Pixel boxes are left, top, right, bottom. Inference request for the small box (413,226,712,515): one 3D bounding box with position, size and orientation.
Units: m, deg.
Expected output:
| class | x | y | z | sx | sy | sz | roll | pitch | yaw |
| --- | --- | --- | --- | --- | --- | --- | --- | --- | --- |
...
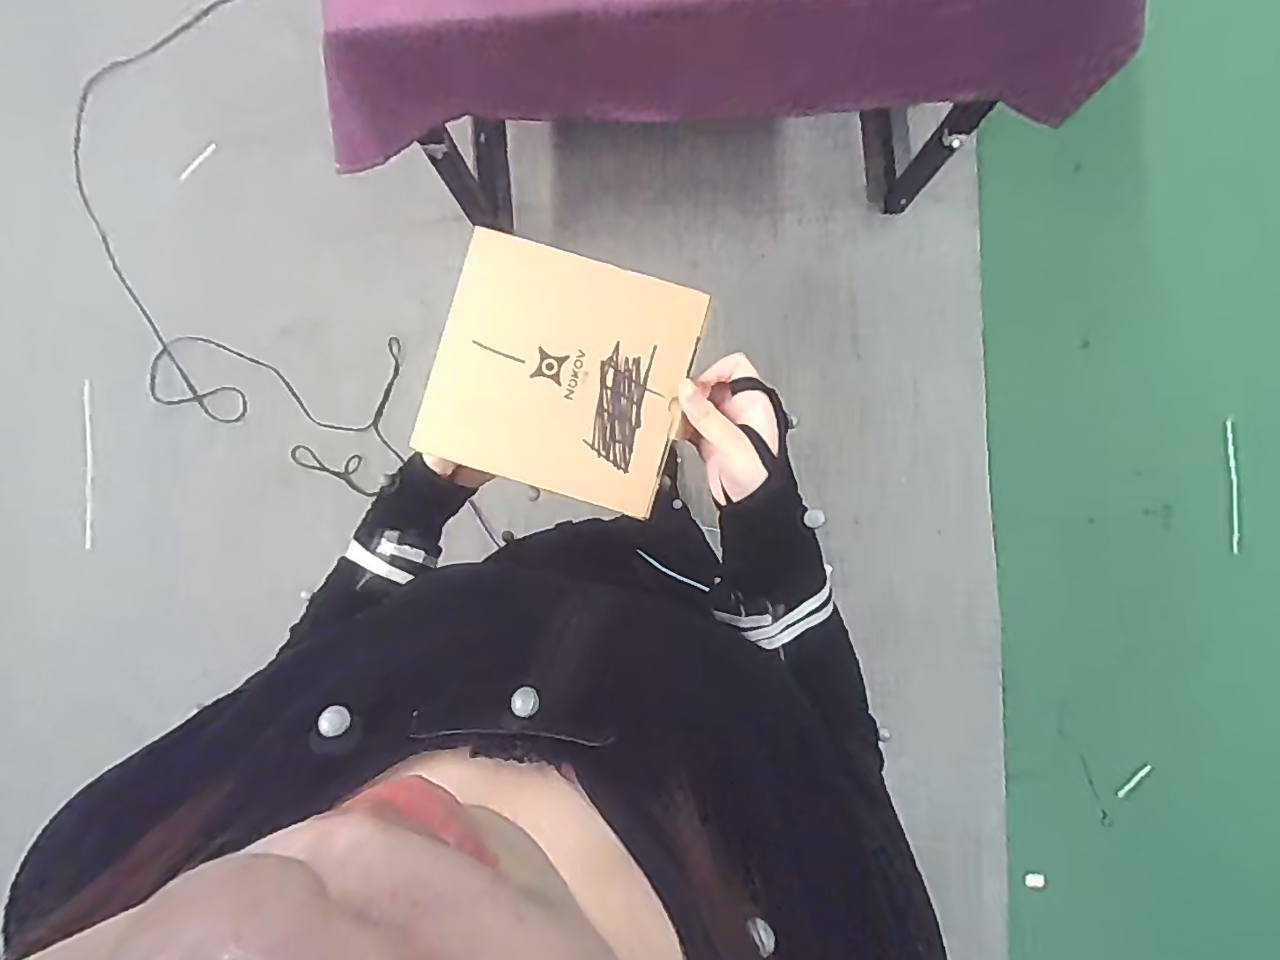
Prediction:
| class | x | y | z | sx | sy | sz | roll | pitch | yaw |
| --- | --- | --- | --- | --- | --- | --- | --- | --- | --- |
| small box | -0.055 | -0.078 | 0.460 | 0.179 | 0.176 | 0.168 | 17 | 90 | 0 |
